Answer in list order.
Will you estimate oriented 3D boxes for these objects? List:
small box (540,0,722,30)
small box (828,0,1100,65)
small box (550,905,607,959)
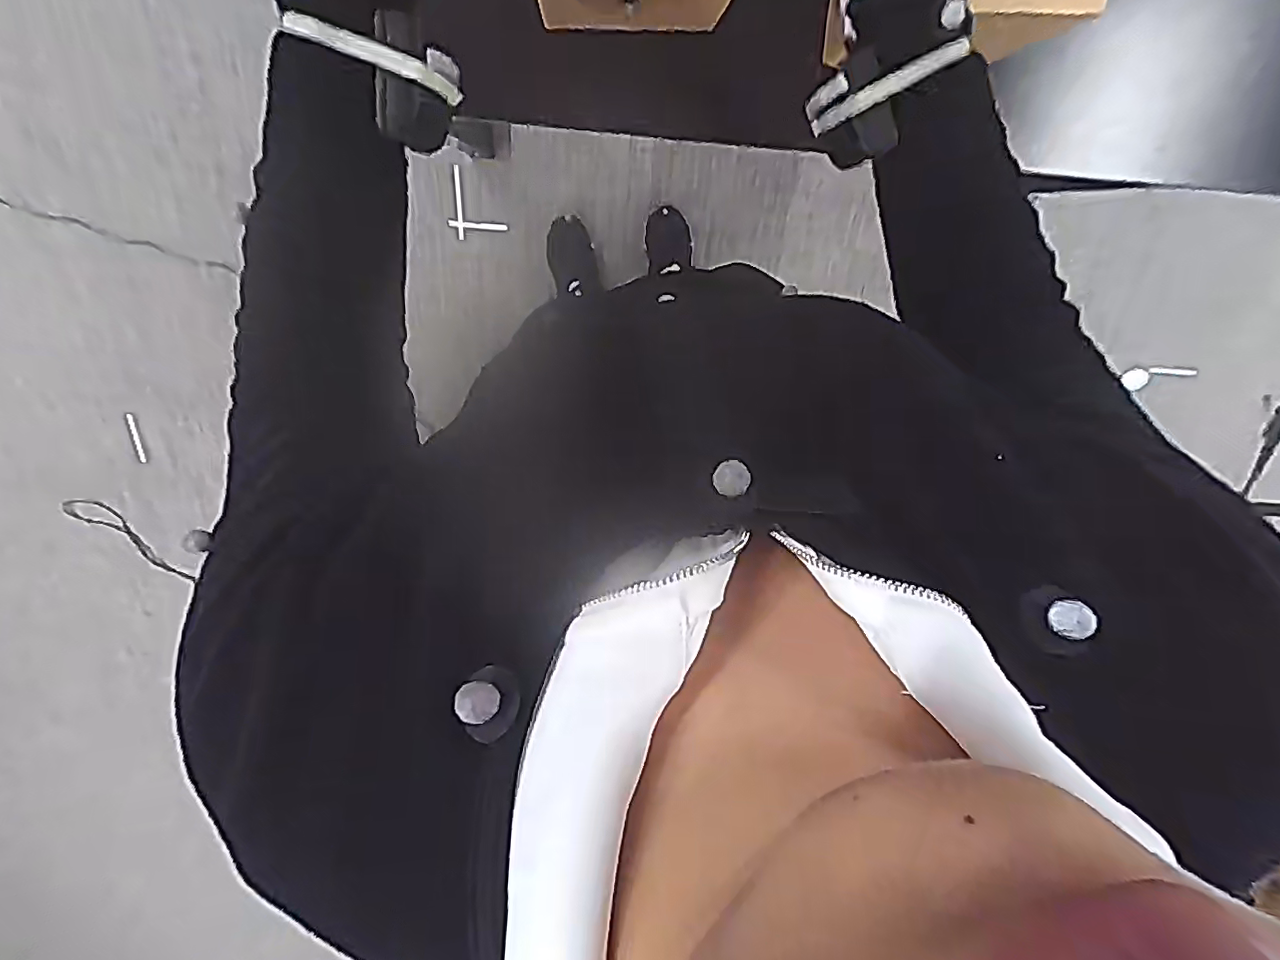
[{"bbox_3d":[-0.005,-0.505,0.450,0.179,0.176,0.168,-2,115,-3],"label":"small box"},{"bbox_3d":[0.286,-0.491,0.480,0.179,0.176,0.168,-2,115,-3],"label":"small box"},{"bbox_3d":[-0.185,1.425,1.638,0.168,0.176,0.179,0,113,-2],"label":"small box"}]
